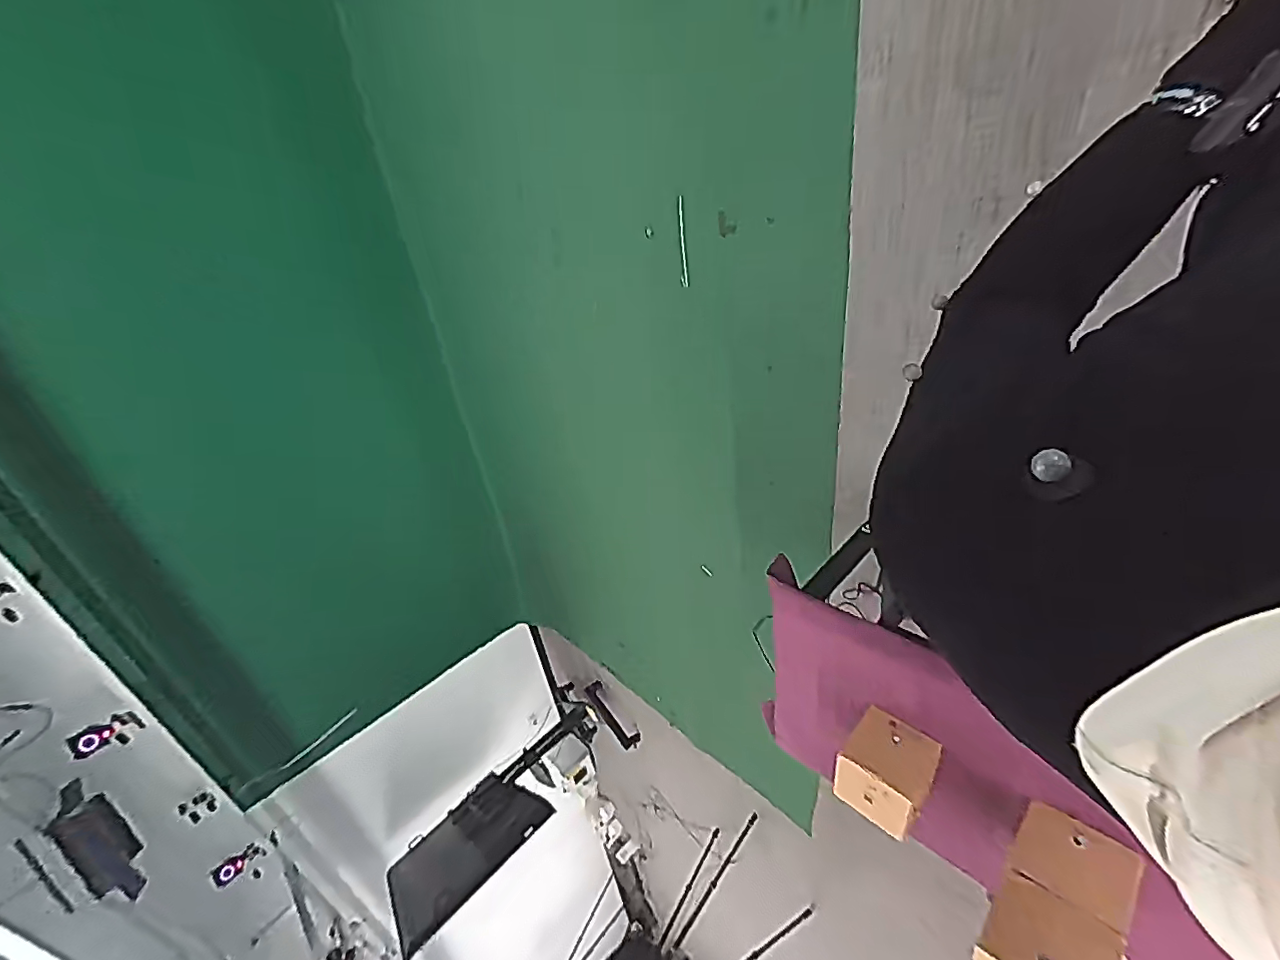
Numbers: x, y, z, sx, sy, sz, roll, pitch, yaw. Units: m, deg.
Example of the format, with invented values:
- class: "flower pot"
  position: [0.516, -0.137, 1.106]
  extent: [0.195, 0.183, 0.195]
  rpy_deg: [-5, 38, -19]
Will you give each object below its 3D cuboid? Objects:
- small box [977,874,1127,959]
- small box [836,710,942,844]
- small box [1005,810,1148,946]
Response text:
- class: "small box"
  position: [0.702, 0.842, 0.931]
  extent: [0.179, 0.176, 0.168]
  rpy_deg: [16, 127, 45]
- class: "small box"
  position: [0.579, 0.683, 1.259]
  extent: [0.168, 0.176, 0.179]
  rpy_deg: [23, 132, 41]
- class: "small box"
  position: [0.817, 0.771, 1.024]
  extent: [0.179, 0.176, 0.168]
  rpy_deg: [17, 129, 45]
